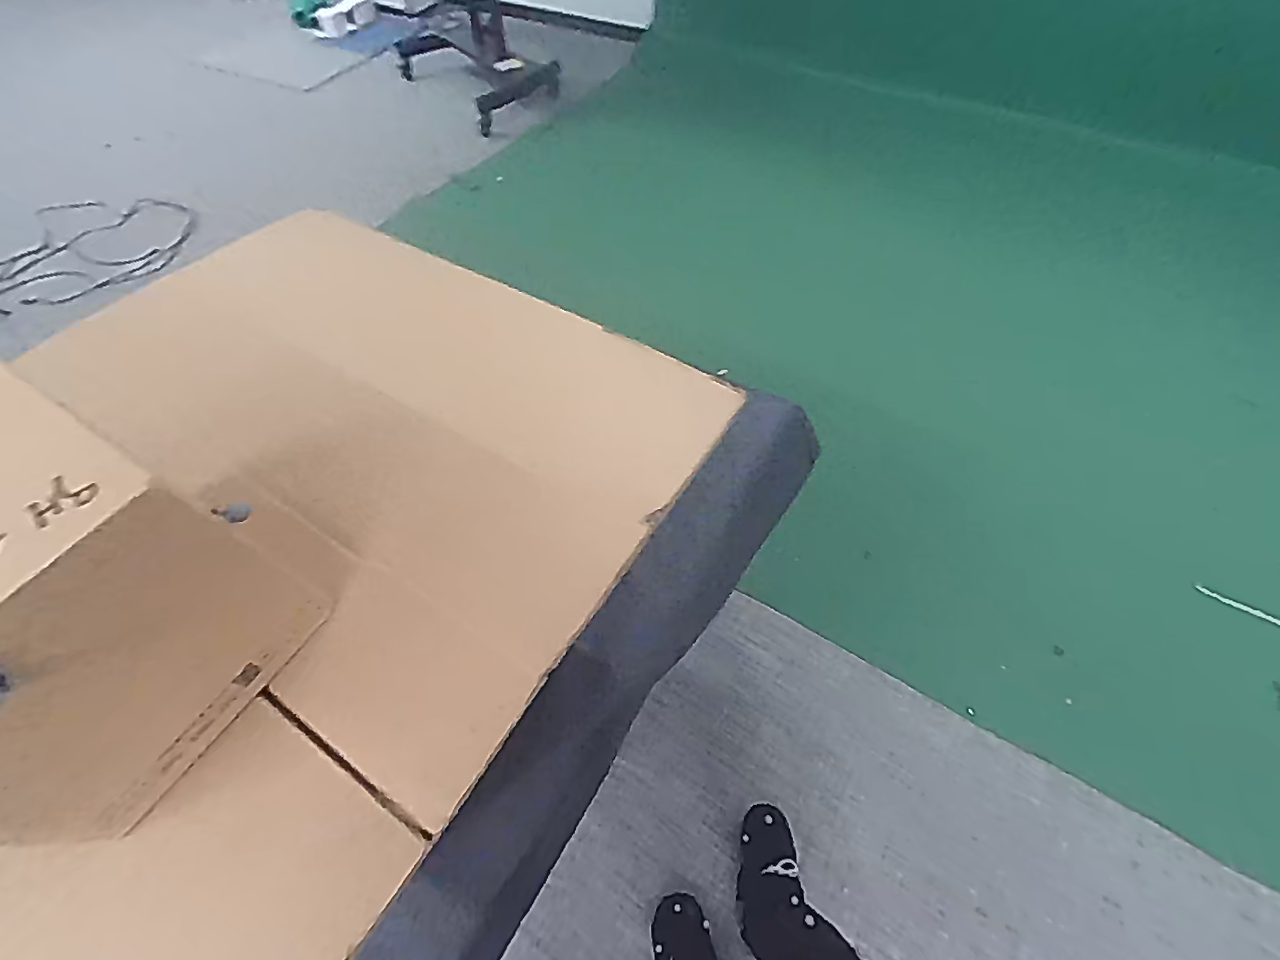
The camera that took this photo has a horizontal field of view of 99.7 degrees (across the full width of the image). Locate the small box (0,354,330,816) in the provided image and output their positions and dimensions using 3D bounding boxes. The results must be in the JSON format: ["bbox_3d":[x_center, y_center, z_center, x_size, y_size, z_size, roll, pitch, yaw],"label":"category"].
[{"bbox_3d":[-0.329,0.064,0.305,0.179,0.176,0.168,27,63,18],"label":"small box"}]
